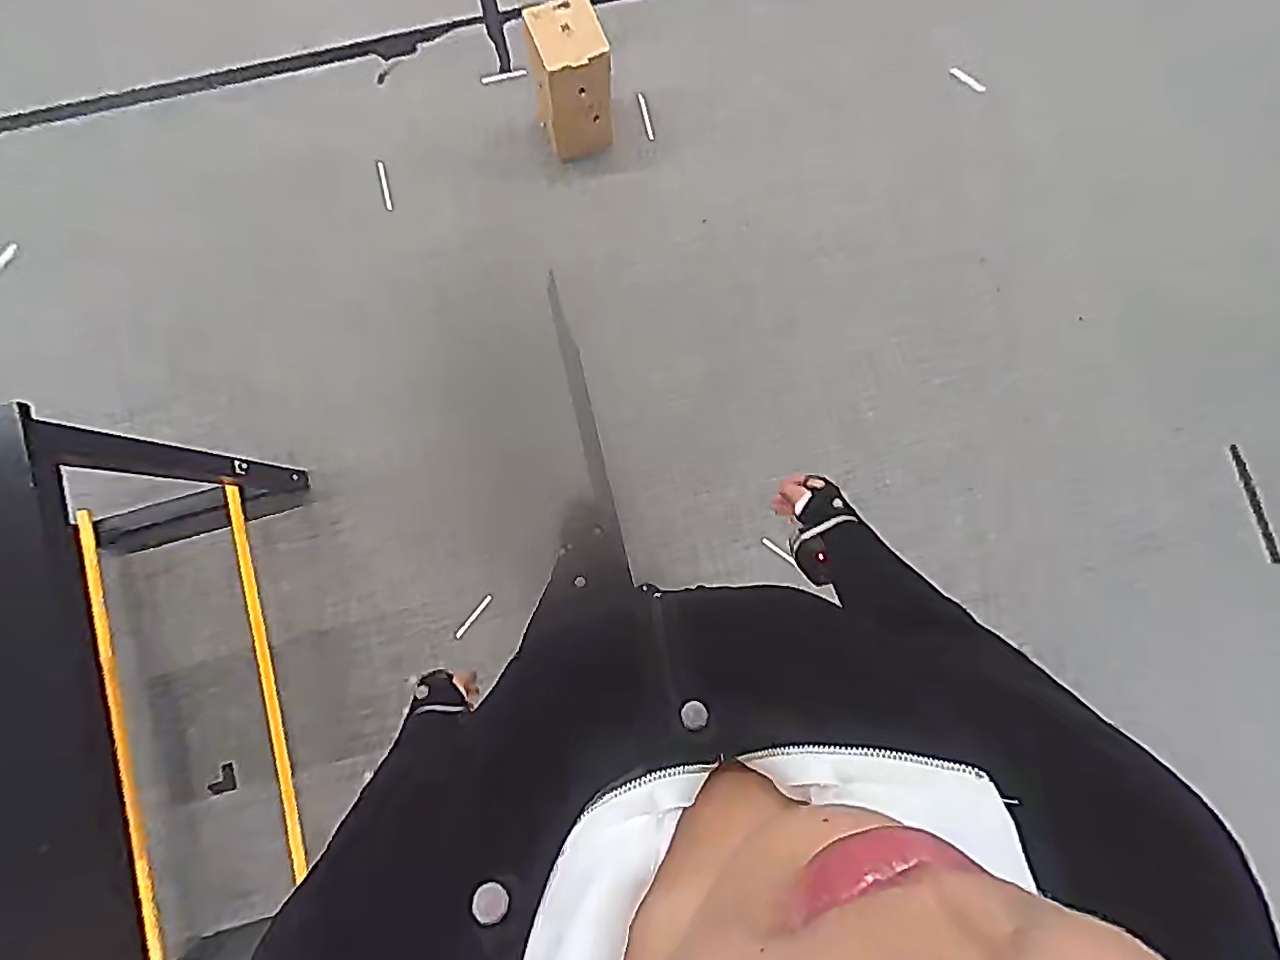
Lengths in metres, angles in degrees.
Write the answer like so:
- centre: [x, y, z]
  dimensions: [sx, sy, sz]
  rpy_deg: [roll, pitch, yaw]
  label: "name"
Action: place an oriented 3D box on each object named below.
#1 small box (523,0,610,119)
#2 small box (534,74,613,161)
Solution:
- centre: [-0.179, -1.062, 1.376]
  dimensions: [0.168, 0.176, 0.179]
  rpy_deg: [-22, 86, -4]
  label: "small box"
- centre: [-0.186, -1.055, 1.540]
  dimensions: [0.179, 0.176, 0.168]
  rpy_deg: [-20, 85, -4]
  label: "small box"
